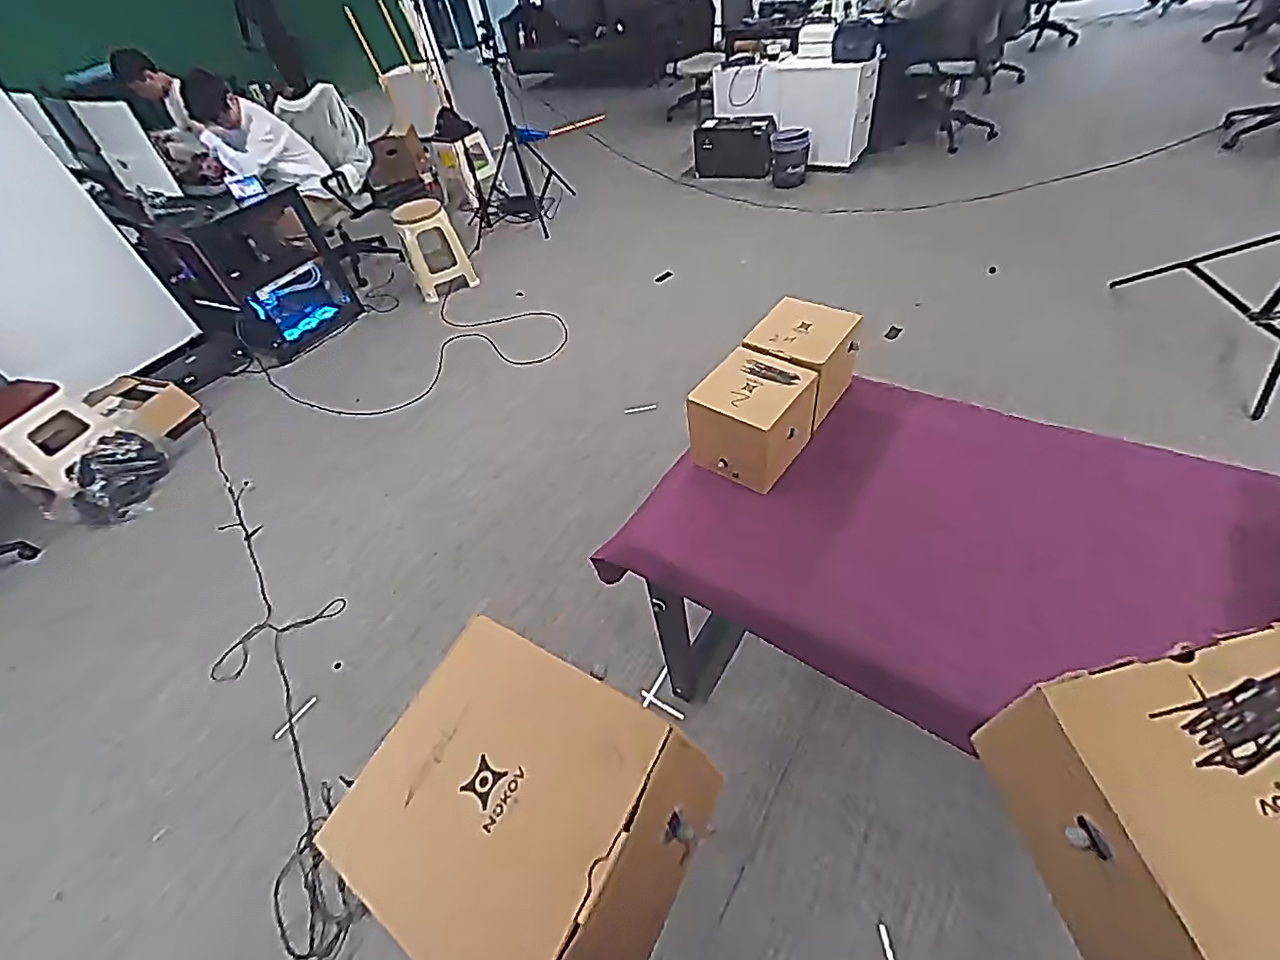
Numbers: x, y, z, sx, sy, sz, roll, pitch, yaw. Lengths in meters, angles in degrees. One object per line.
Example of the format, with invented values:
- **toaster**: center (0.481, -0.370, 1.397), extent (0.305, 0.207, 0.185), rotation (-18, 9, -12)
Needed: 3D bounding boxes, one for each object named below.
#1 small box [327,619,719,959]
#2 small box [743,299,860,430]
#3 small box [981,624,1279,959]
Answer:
- **small box**: center (-0.062, 0.232, 0.383), extent (0.179, 0.176, 0.168), rotation (16, 59, 32)
- **small box**: center (0.319, -0.233, 1.096), extent (0.168, 0.176, 0.179), rotation (26, 58, 30)
- **small box**: center (0.348, 0.213, 0.328), extent (0.168, 0.176, 0.179), rotation (-17, 53, 5)
